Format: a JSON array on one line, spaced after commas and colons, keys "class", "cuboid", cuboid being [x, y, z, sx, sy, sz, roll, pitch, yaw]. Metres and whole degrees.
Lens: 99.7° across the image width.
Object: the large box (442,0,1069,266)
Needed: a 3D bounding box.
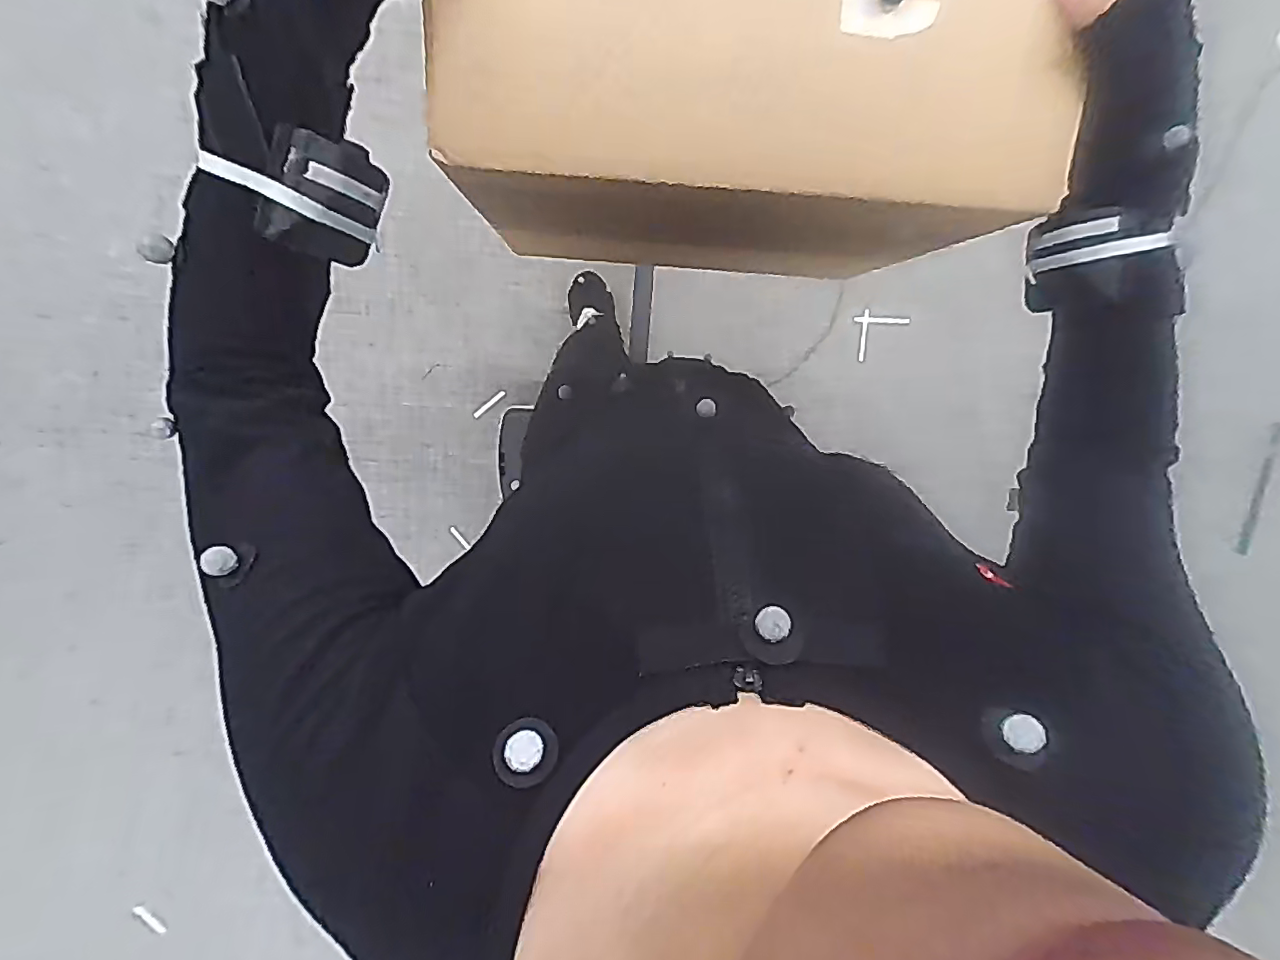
[{"class": "large box", "cuboid": [0.067, -0.382, 0.470, 0.408, 0.320, 0.320, 2, 103, -5]}]
